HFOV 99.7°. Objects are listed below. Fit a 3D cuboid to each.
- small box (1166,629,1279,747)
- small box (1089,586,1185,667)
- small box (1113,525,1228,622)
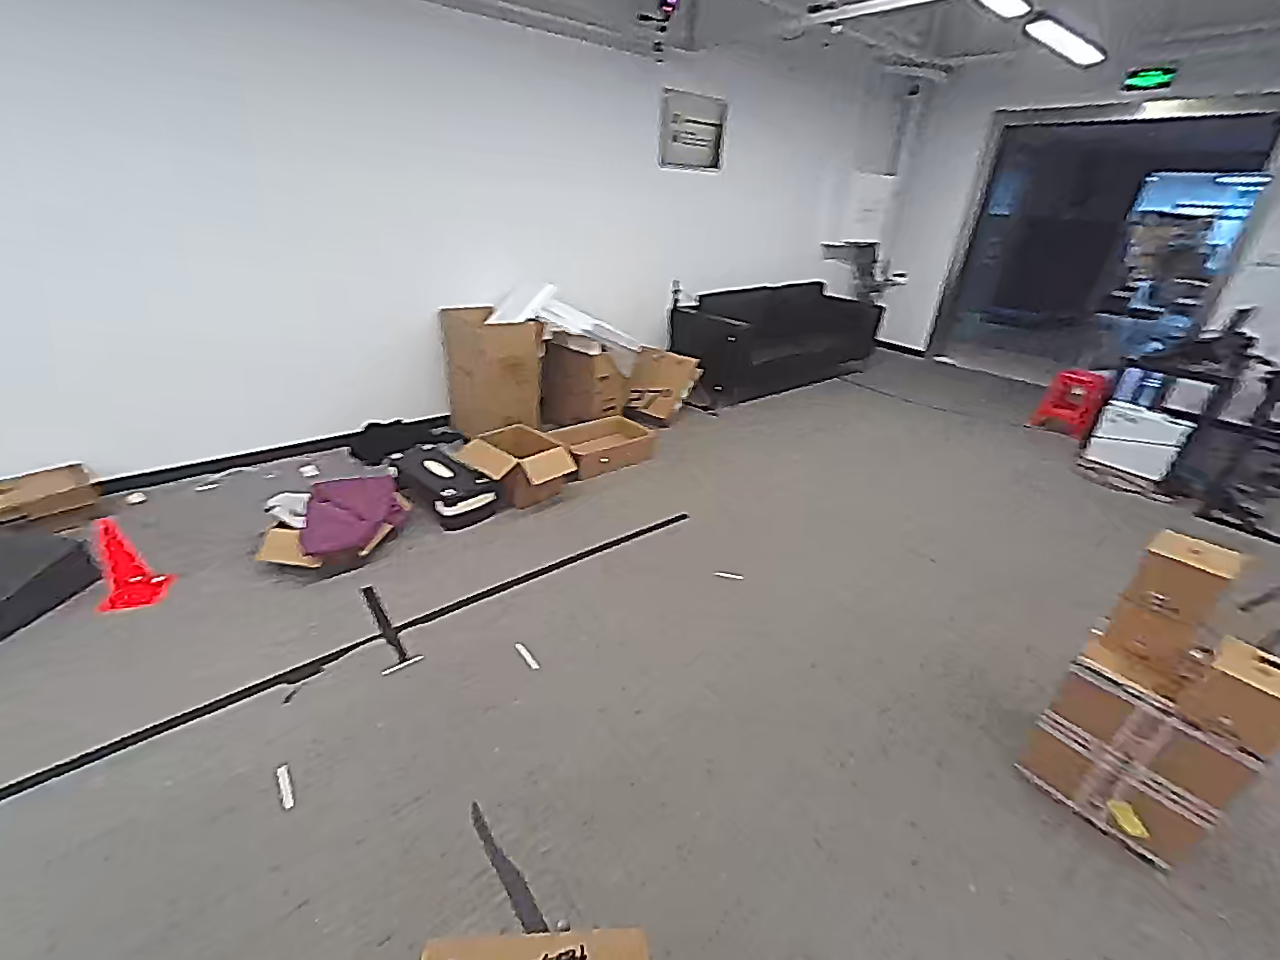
[{"bbox_3d":[1.463,0.512,1.340,0.179,0.176,0.168,-20,36,-33],"label":"small box"},{"bbox_3d":[1.438,0.396,1.553,0.179,0.176,0.168,-20,33,-34],"label":"small box"},{"bbox_3d":[1.441,0.253,1.476,0.179,0.176,0.168,-20,33,-33],"label":"small box"}]
